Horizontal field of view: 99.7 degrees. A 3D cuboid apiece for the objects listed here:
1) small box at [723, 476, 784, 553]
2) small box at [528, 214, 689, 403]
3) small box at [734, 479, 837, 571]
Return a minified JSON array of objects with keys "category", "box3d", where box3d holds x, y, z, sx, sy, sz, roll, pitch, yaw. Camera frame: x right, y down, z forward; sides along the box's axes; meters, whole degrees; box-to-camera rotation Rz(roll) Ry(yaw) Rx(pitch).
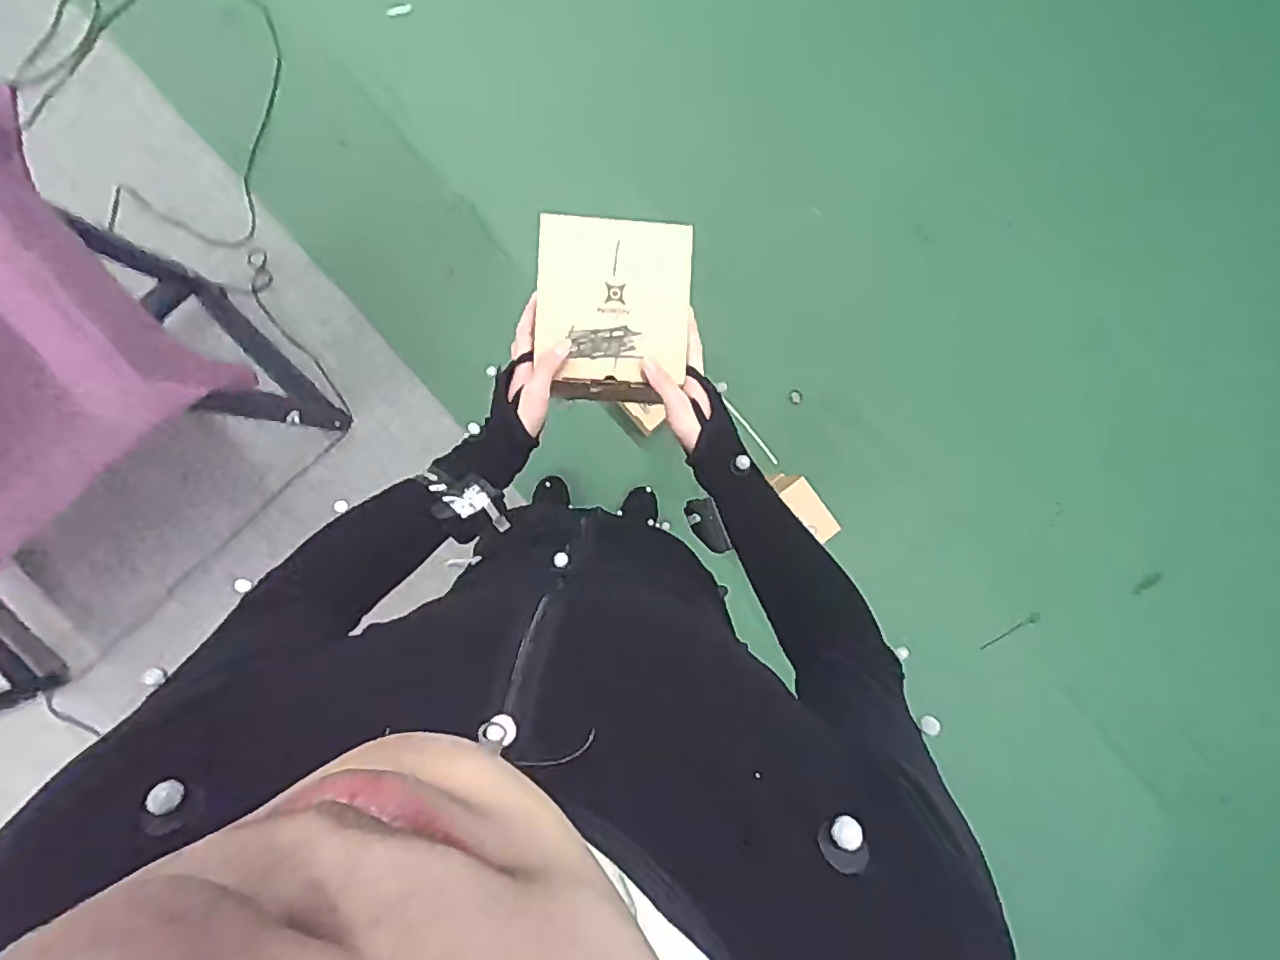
[{"category":"small box","box3d":[0.365,0.099,1.572,0.179,0.176,0.168,-38,92,-1]},{"category":"small box","box3d":[-0.038,-0.190,0.650,0.168,0.176,0.179,2,91,-5]},{"category":"small box","box3d":[0.370,0.107,1.408,0.179,0.176,0.168,-36,92,-1]}]
